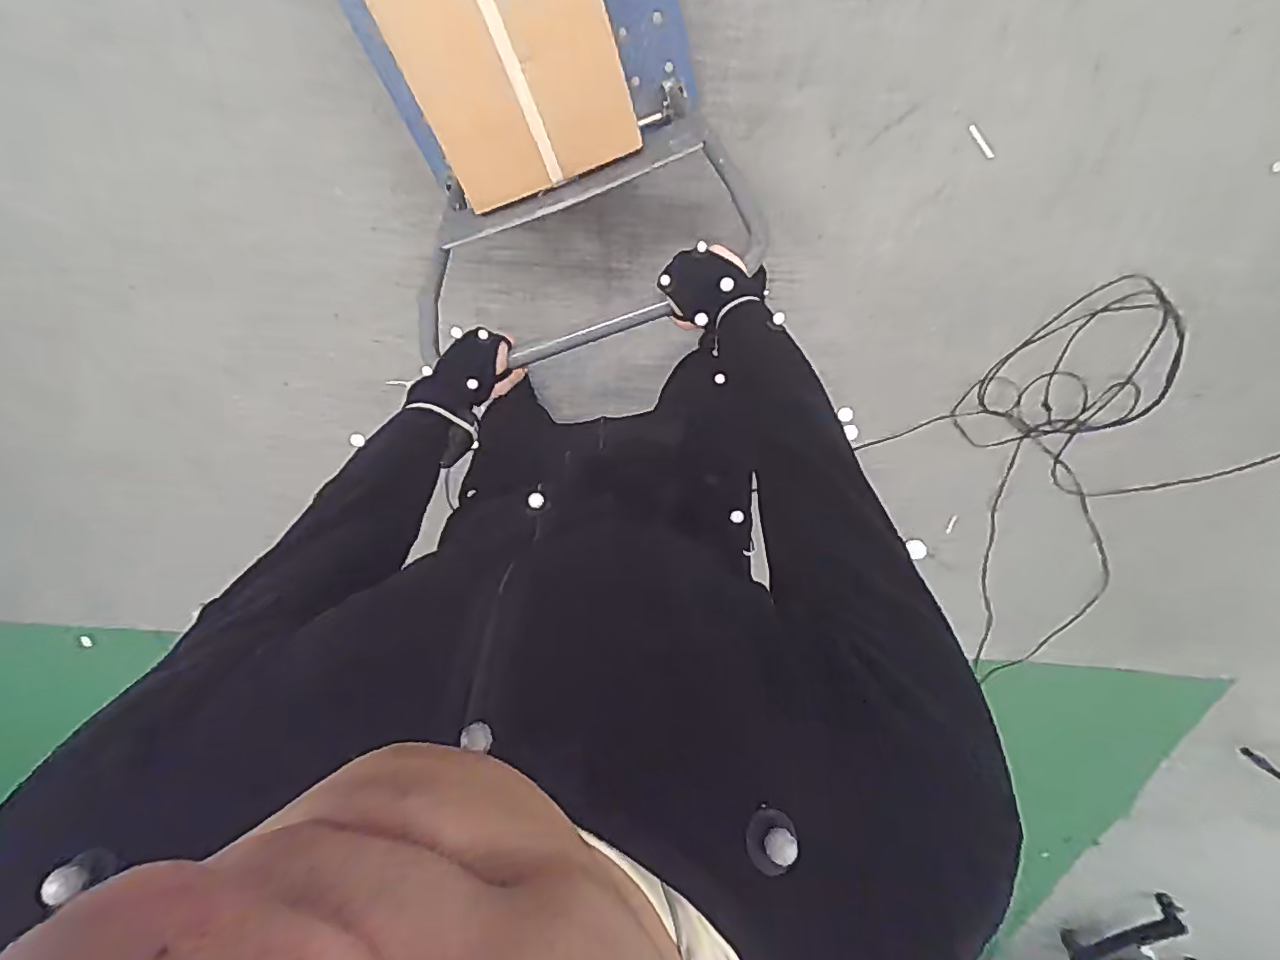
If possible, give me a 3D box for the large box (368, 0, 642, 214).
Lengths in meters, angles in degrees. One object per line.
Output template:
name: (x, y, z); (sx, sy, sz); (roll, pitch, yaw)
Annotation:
large box: (-0.214, -0.750, 0.917); (0.320, 0.320, 0.408); (-18, 132, 9)
